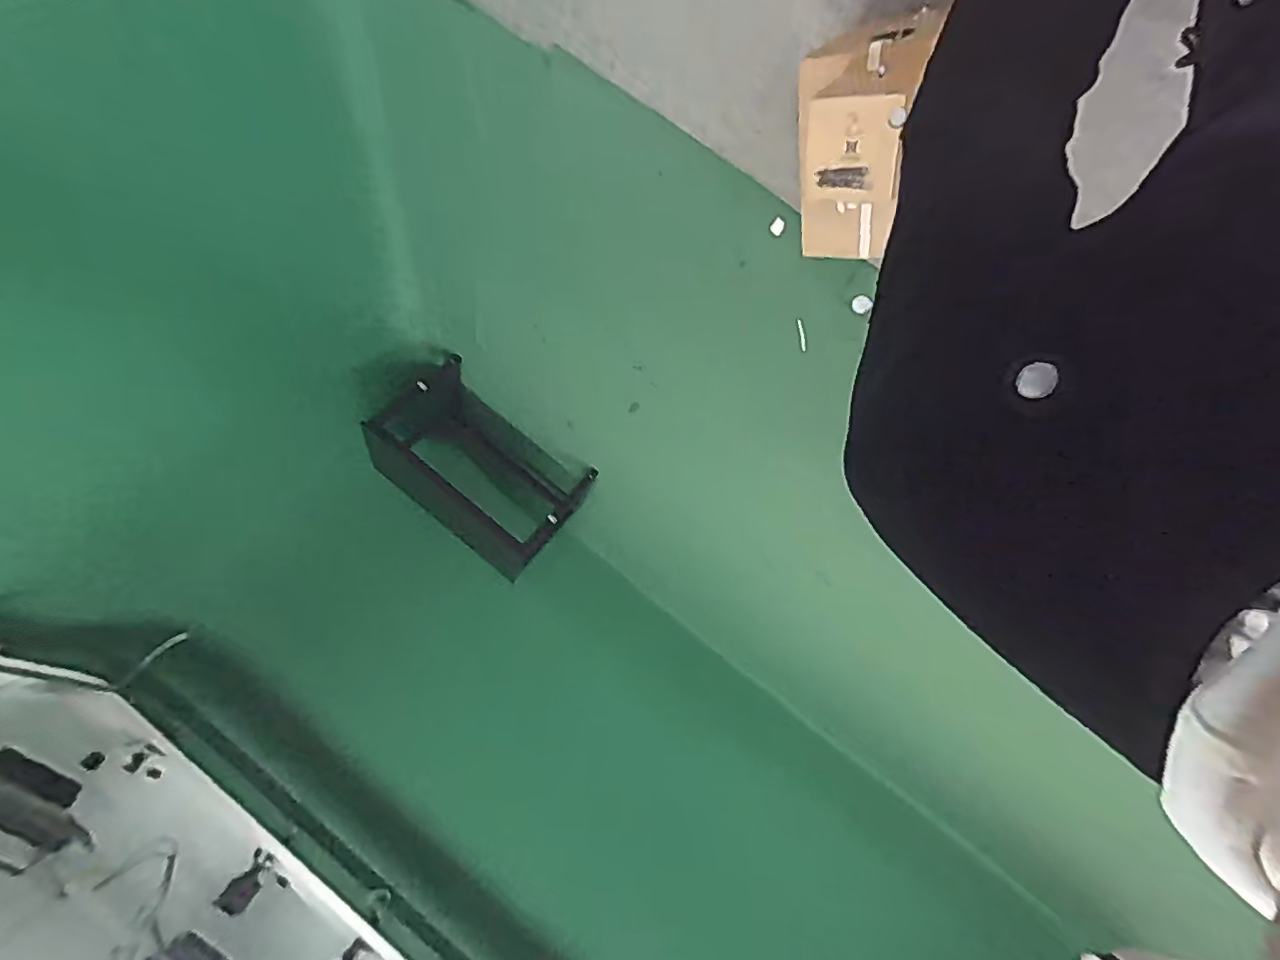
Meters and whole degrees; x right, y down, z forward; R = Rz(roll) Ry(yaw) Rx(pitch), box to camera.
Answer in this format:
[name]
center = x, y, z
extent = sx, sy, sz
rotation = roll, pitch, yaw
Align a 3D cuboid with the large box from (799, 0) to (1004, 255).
[large box]
center = 0.574, -0.771, 1.209
extent = 0.320, 0.320, 0.408
rotation = 19, 145, 34
